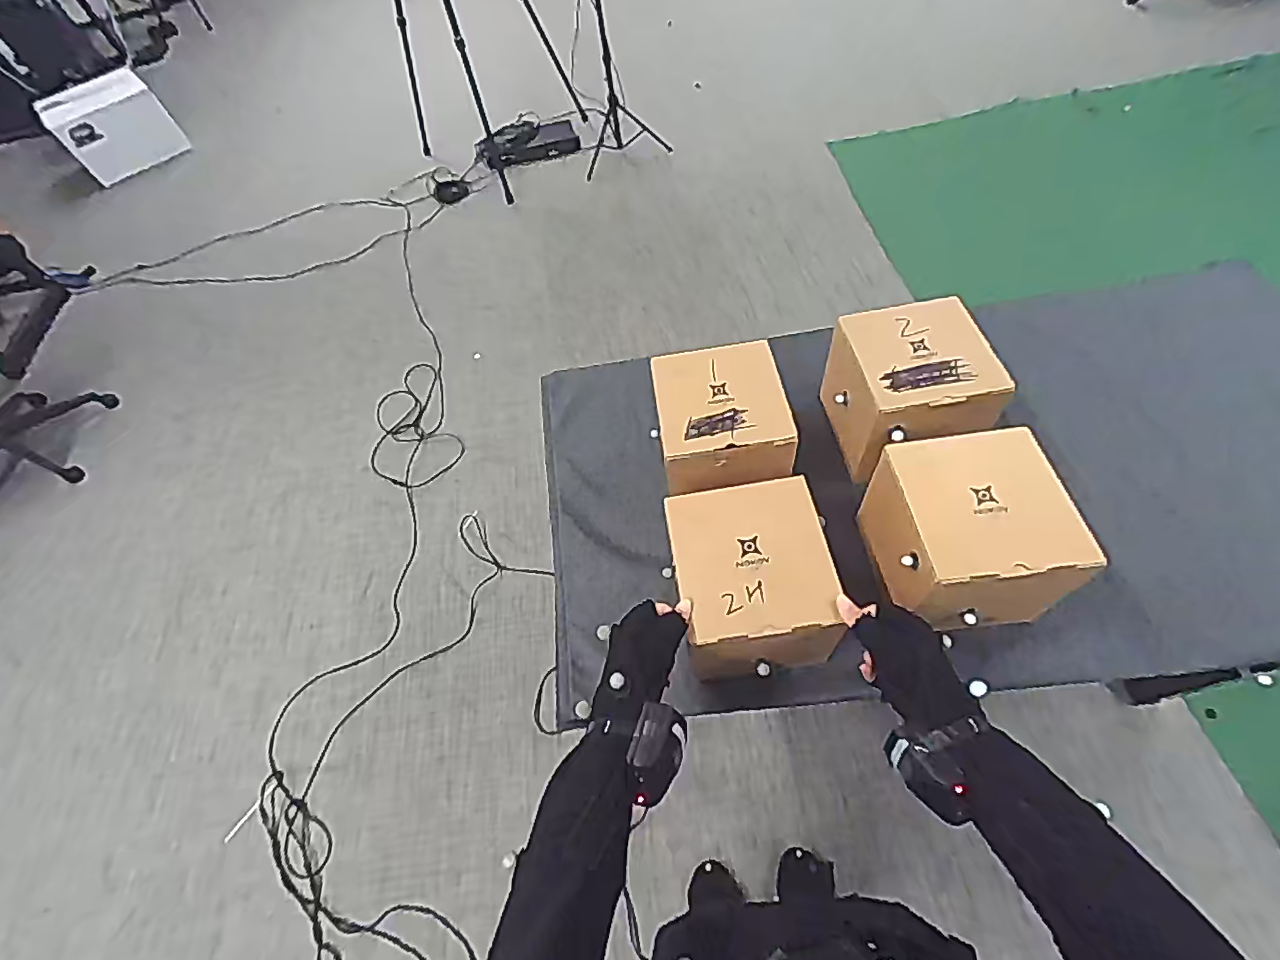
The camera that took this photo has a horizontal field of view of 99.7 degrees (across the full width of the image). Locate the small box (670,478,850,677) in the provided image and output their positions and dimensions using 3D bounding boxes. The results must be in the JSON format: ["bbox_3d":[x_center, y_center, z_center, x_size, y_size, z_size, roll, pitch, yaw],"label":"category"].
[{"bbox_3d":[0.131,0.123,0.655,0.168,0.176,0.179,-10,58,3],"label":"small box"}]

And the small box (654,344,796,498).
[{"bbox_3d":[0.117,-0.063,0.777,0.168,0.176,0.179,-8,56,3],"label":"small box"}]
